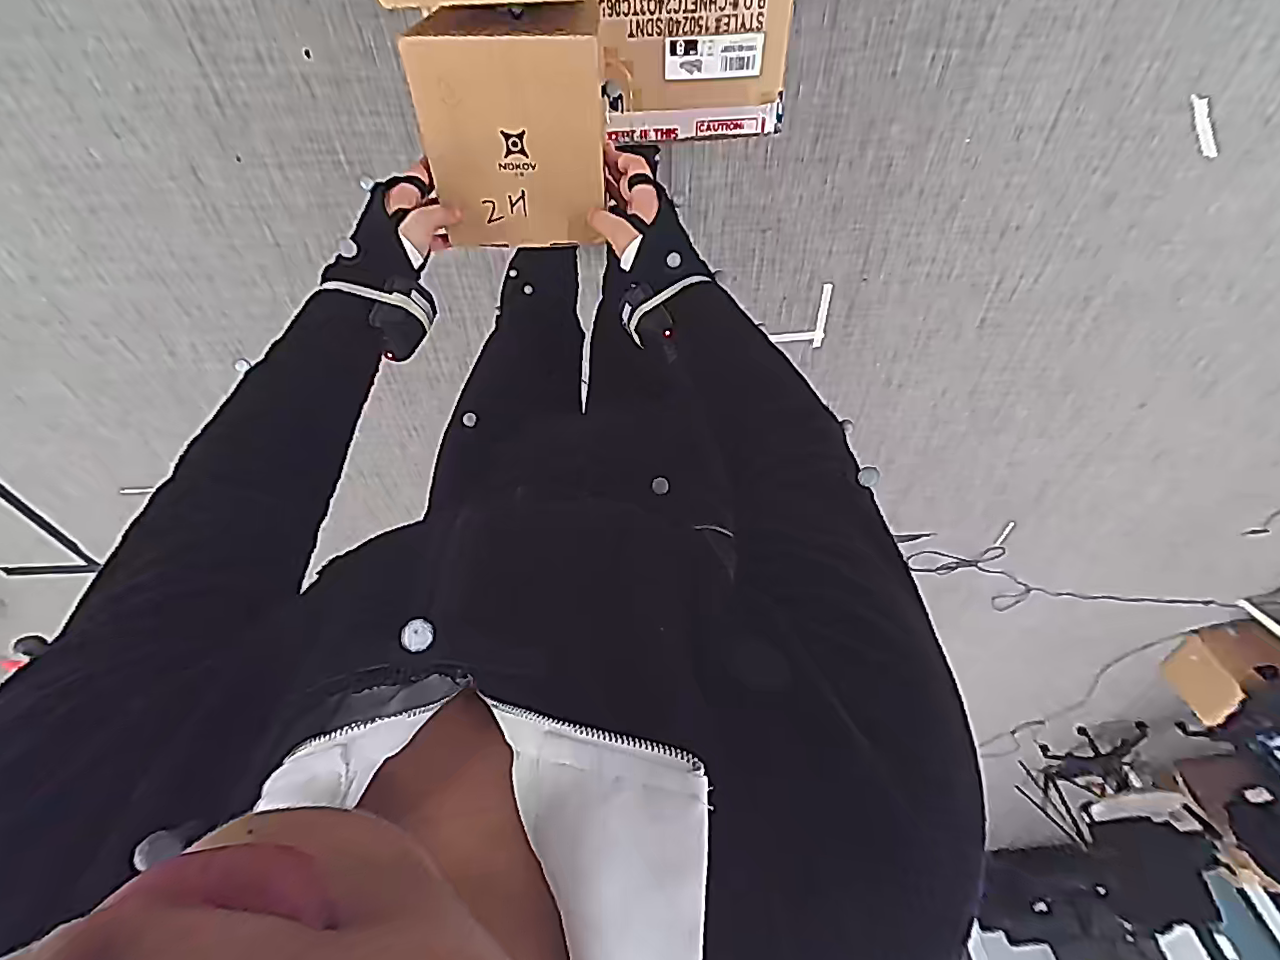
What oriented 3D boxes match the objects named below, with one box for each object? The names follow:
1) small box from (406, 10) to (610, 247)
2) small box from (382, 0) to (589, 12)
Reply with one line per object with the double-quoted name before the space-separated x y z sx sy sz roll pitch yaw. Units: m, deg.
"small box" -0.117 -0.364 0.559 0.168 0.176 0.179 -1 138 -1
"small box" -0.126 -0.493 0.422 0.168 0.176 0.179 -1 138 1
